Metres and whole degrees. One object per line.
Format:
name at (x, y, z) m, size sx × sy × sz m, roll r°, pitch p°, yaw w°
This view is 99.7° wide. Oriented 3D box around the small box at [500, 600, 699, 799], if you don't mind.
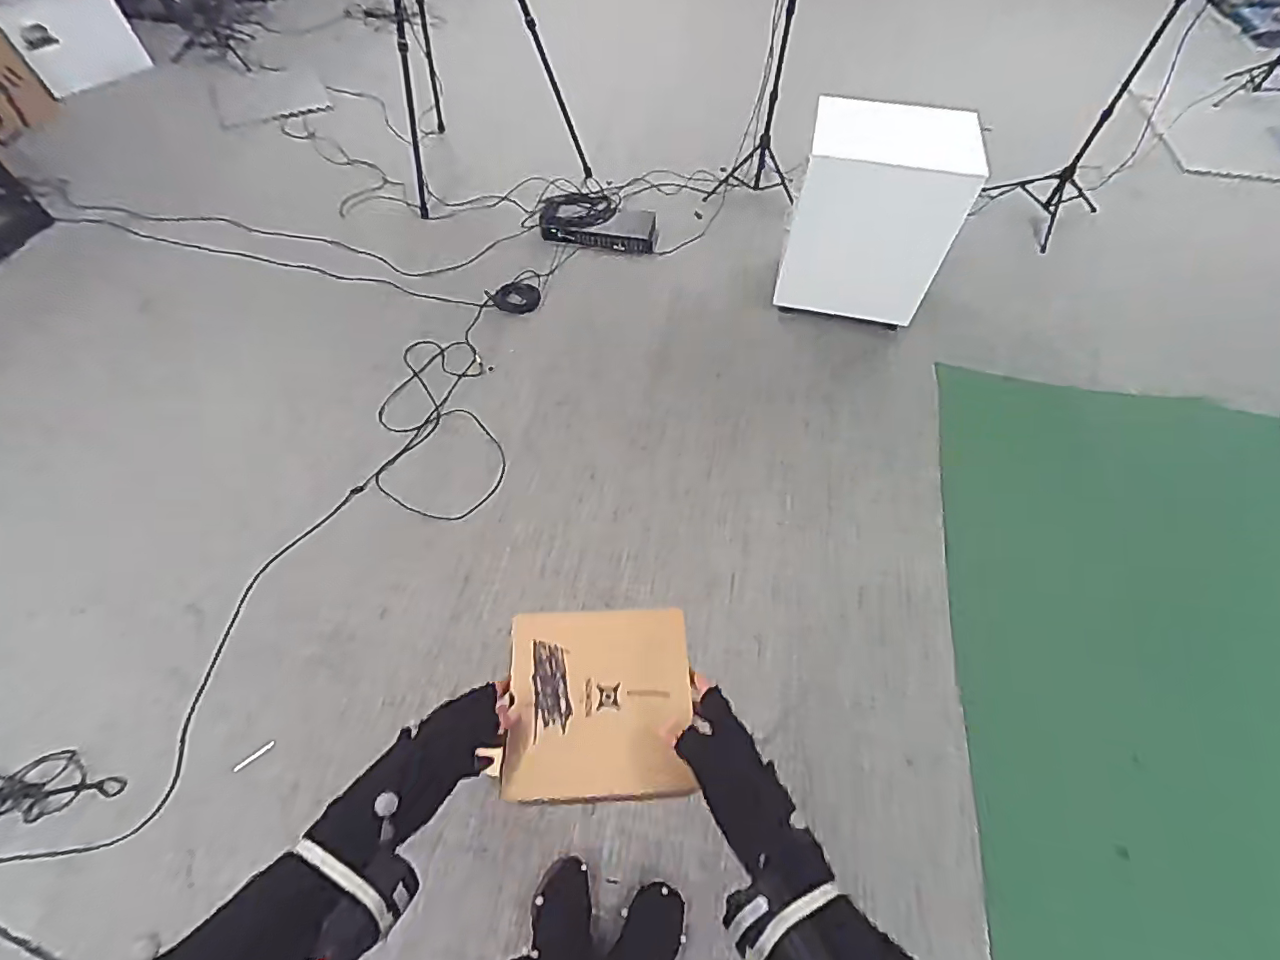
small box at (-0.038, 0.237, 0.574) m, size 0.179 × 0.176 × 0.168 m, roll -2°, pitch 58°, yaw -2°
